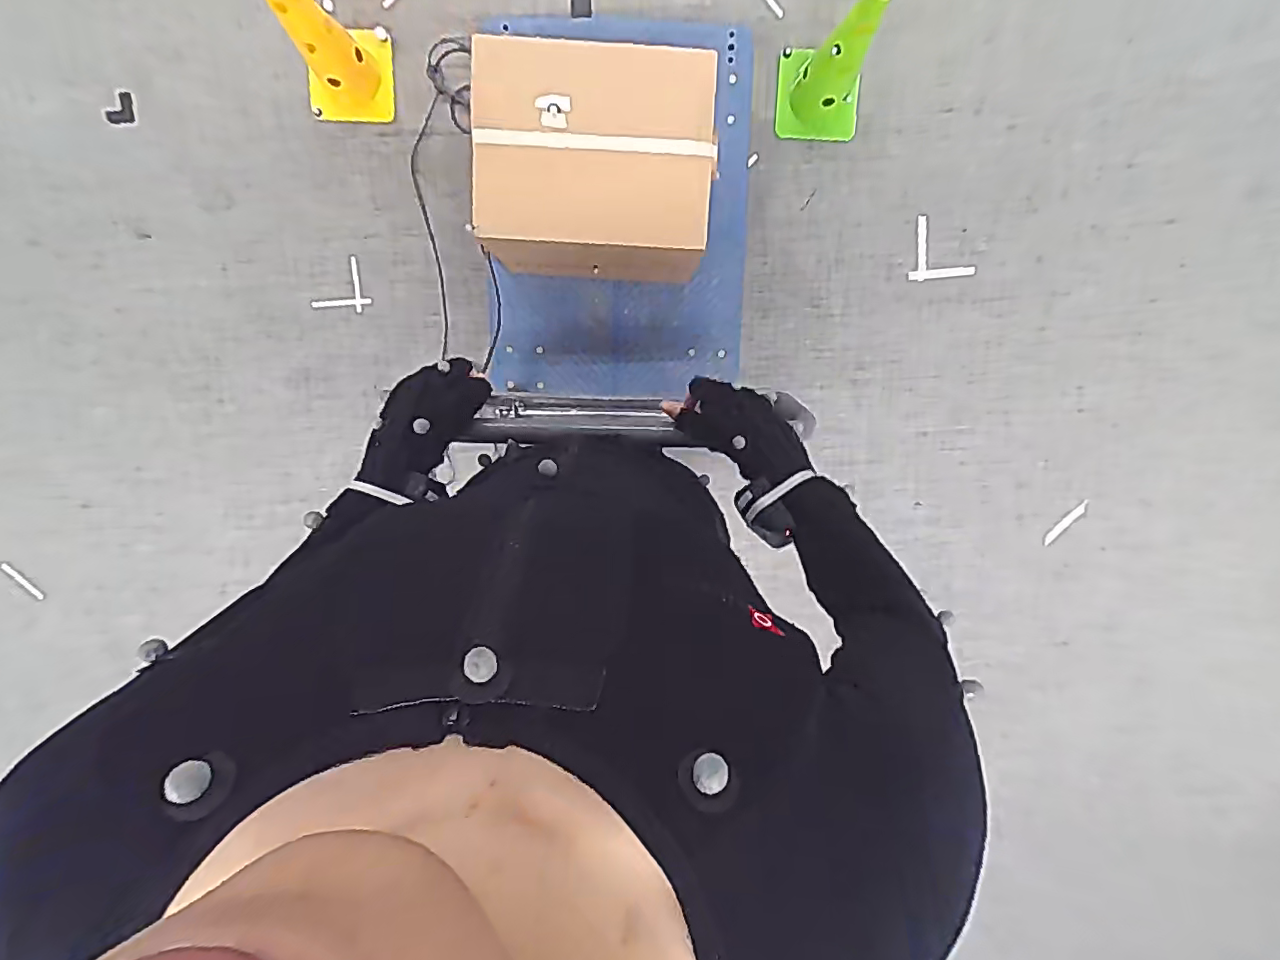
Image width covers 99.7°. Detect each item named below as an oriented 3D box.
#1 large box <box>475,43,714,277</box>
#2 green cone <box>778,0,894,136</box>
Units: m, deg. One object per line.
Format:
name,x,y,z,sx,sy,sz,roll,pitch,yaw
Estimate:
large box,-0.077,-0.588,1.060,0.408,0.320,0.320,3,99,-1
green cone,0.447,-0.929,1.158,0.202,0.368,0.200,1,99,-2
